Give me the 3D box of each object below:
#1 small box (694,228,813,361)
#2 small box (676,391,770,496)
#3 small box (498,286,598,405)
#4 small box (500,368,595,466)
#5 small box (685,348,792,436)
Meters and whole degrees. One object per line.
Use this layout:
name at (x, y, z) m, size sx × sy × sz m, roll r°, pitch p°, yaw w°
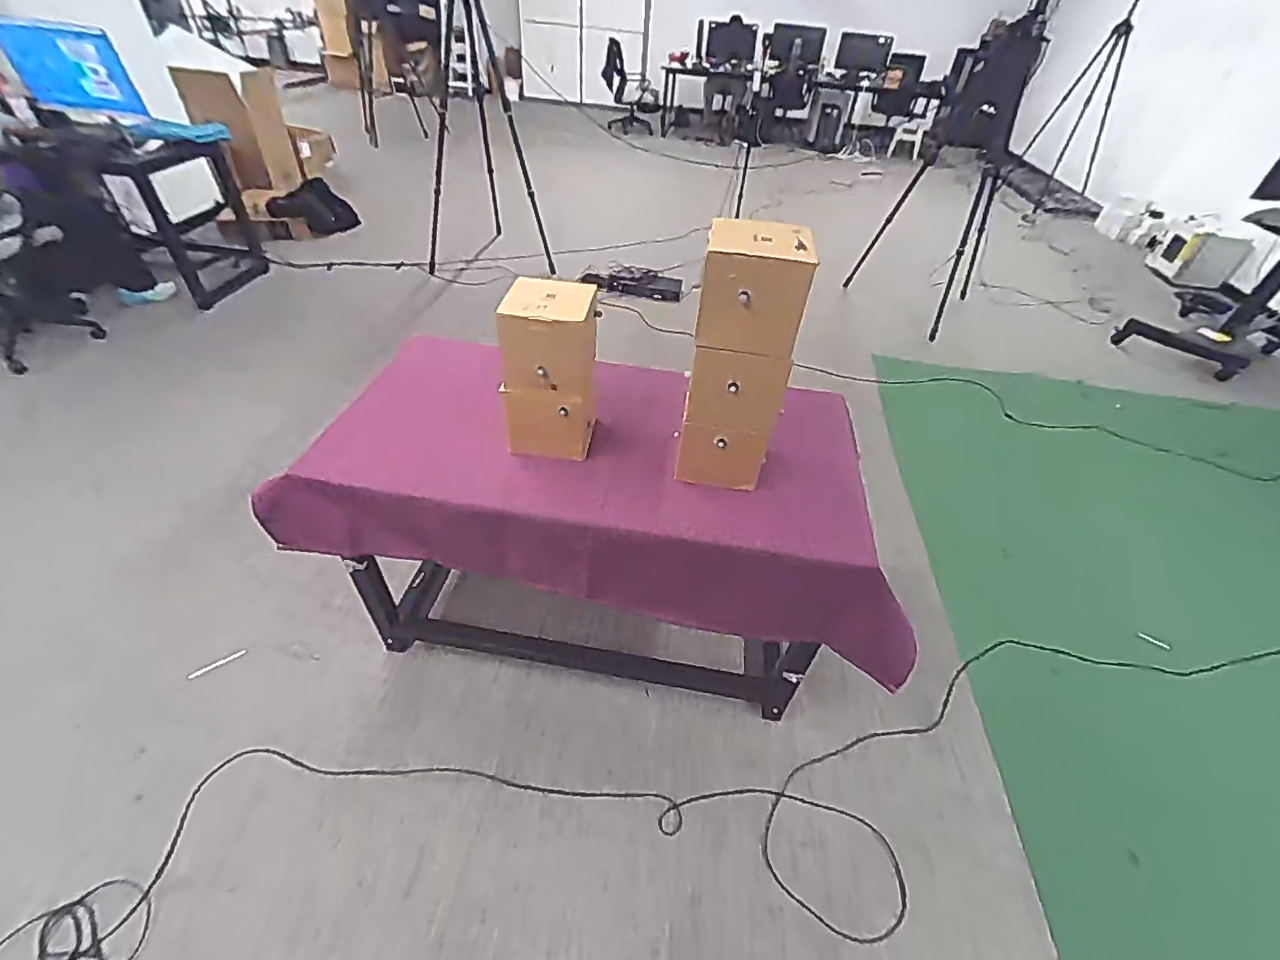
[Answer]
small box at (0.193, -0.326, 0.953) m, size 0.179 × 0.176 × 0.168 m, roll 8°, pitch 43°, yaw 5°
small box at (0.178, -0.085, 1.175) m, size 0.179 × 0.176 × 0.168 m, roll 9°, pitch 43°, yaw 4°
small box at (-0.182, -0.278, 1.111) m, size 0.168 × 0.176 × 0.179 m, roll 6°, pitch 42°, yaw 1°
small box at (-0.199, -0.149, 1.214) m, size 0.179 × 0.176 × 0.168 m, roll 6°, pitch 42°, yaw 1°
small box at (0.191, -0.204, 1.063) m, size 0.179 × 0.176 × 0.168 m, roll 8°, pitch 43°, yaw 6°
